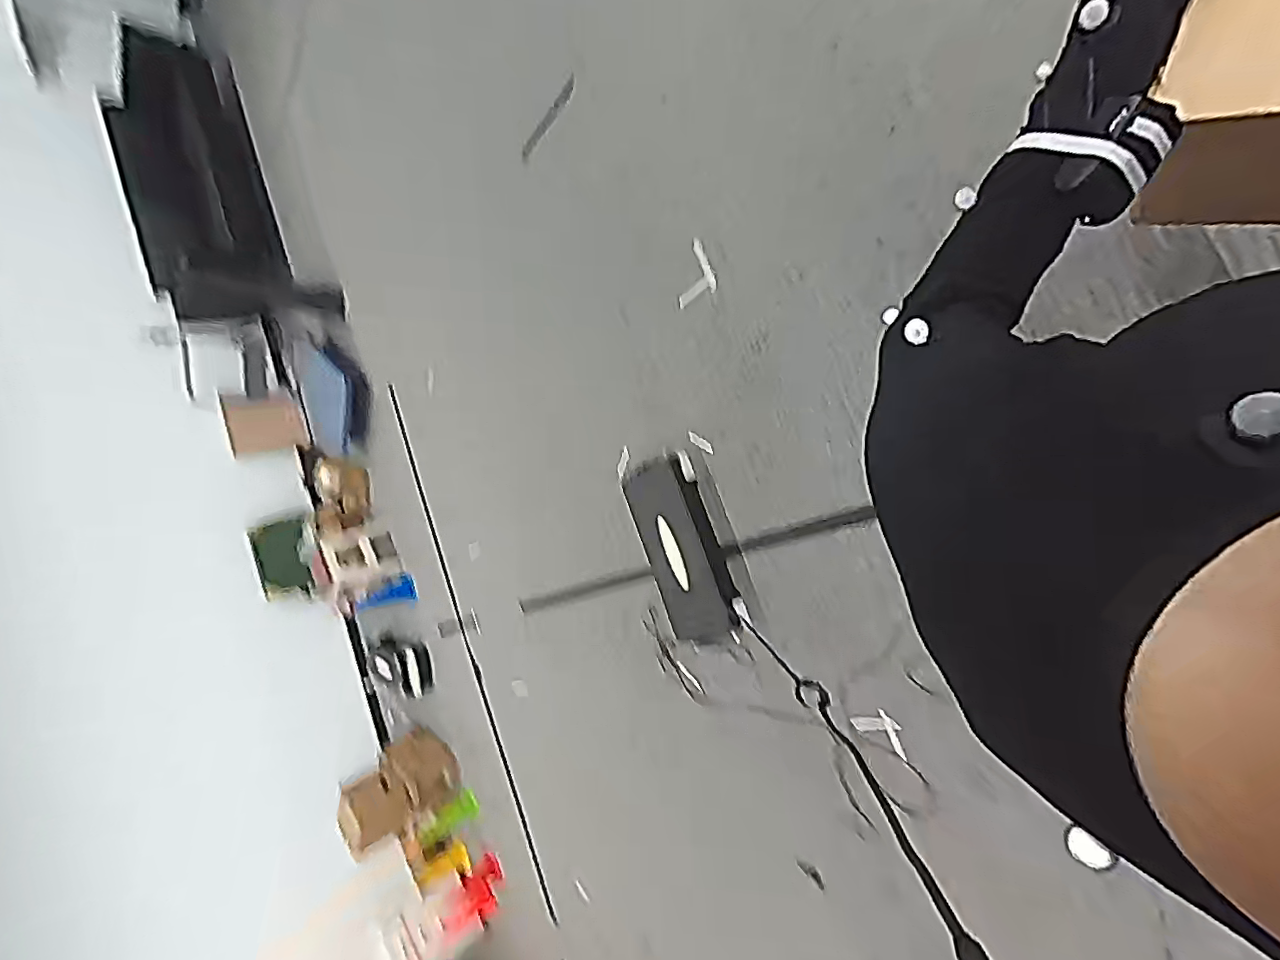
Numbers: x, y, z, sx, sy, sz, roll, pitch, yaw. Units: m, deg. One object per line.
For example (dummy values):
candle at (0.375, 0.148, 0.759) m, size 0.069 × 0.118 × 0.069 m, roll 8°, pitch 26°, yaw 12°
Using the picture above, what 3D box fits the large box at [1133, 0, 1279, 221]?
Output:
large box at (0.616, -0.371, 0.335) m, size 0.408 × 0.320 × 0.320 m, roll 19°, pitch 109°, yaw 38°
